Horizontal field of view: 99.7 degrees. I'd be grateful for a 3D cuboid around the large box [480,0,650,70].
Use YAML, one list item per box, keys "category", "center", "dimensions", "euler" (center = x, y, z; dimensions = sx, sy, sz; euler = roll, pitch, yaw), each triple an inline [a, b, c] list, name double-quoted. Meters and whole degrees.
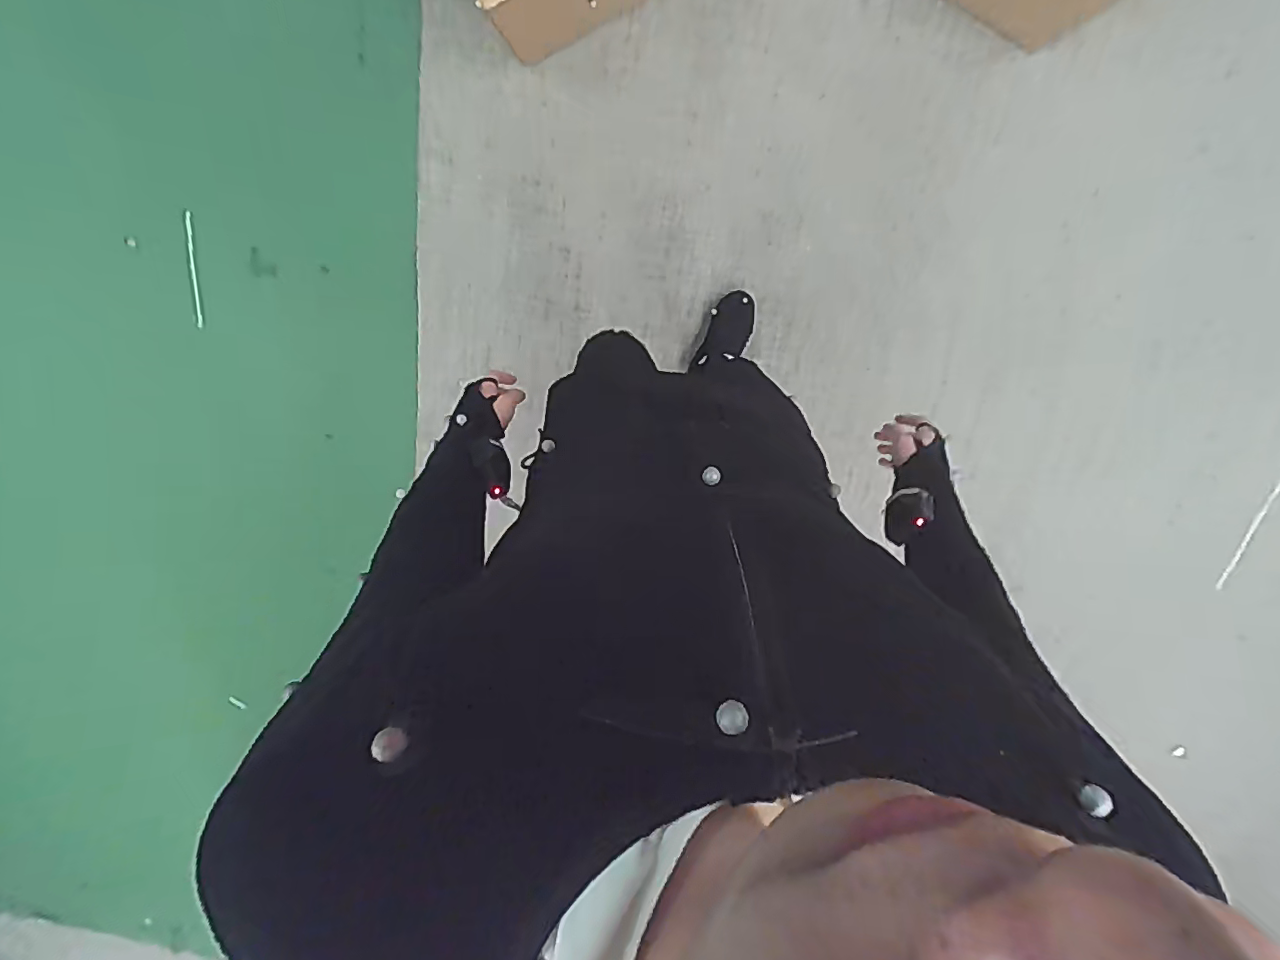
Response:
- category: "large box"
  center: [-0.161, -1.149, 1.102]
  dimensions: [0.408, 0.320, 0.320]
  euler: [-21, 106, 12]
